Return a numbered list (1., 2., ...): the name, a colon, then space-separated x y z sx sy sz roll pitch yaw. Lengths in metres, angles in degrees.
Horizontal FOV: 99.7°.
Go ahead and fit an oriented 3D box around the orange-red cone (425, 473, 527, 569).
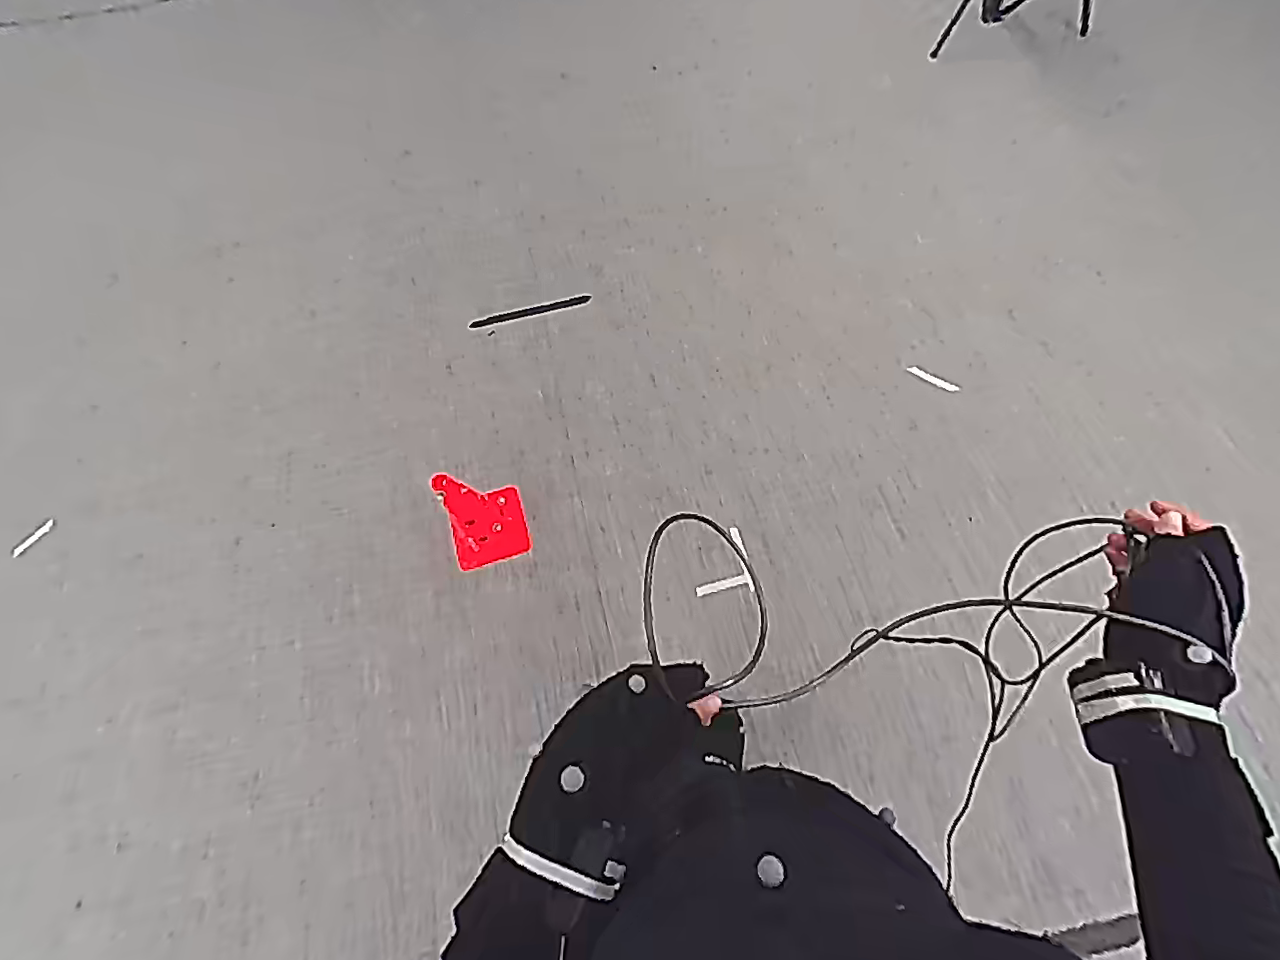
1. orange-red cone: -0.425 0.066 1.301 0.199 0.360 0.198 -18 68 -2
